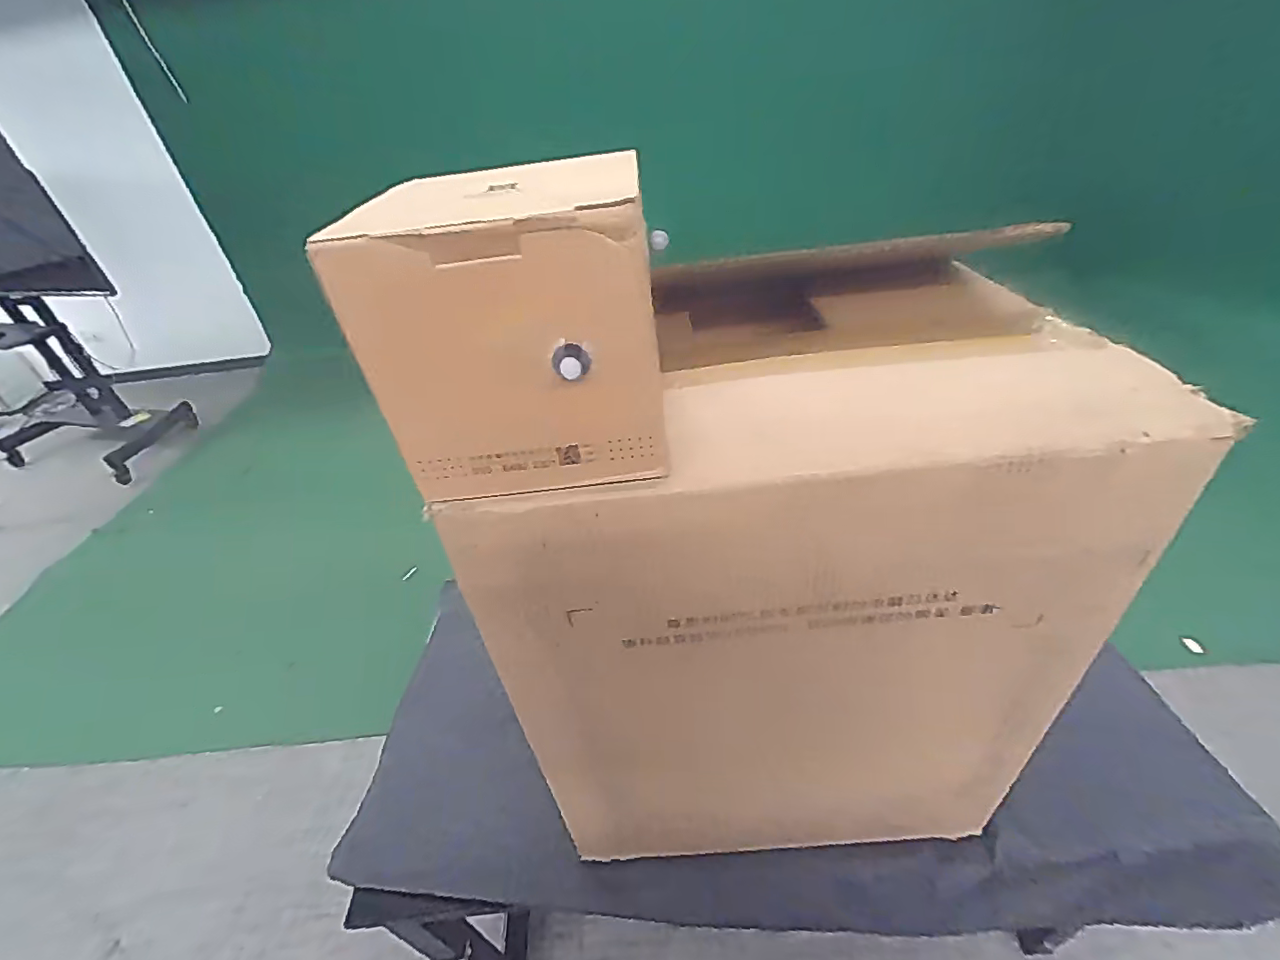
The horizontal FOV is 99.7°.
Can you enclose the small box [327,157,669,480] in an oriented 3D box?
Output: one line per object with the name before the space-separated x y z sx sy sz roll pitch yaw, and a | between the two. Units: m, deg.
small box | -0.071 -0.111 0.383 0.168 0.176 0.179 -6 36 3
